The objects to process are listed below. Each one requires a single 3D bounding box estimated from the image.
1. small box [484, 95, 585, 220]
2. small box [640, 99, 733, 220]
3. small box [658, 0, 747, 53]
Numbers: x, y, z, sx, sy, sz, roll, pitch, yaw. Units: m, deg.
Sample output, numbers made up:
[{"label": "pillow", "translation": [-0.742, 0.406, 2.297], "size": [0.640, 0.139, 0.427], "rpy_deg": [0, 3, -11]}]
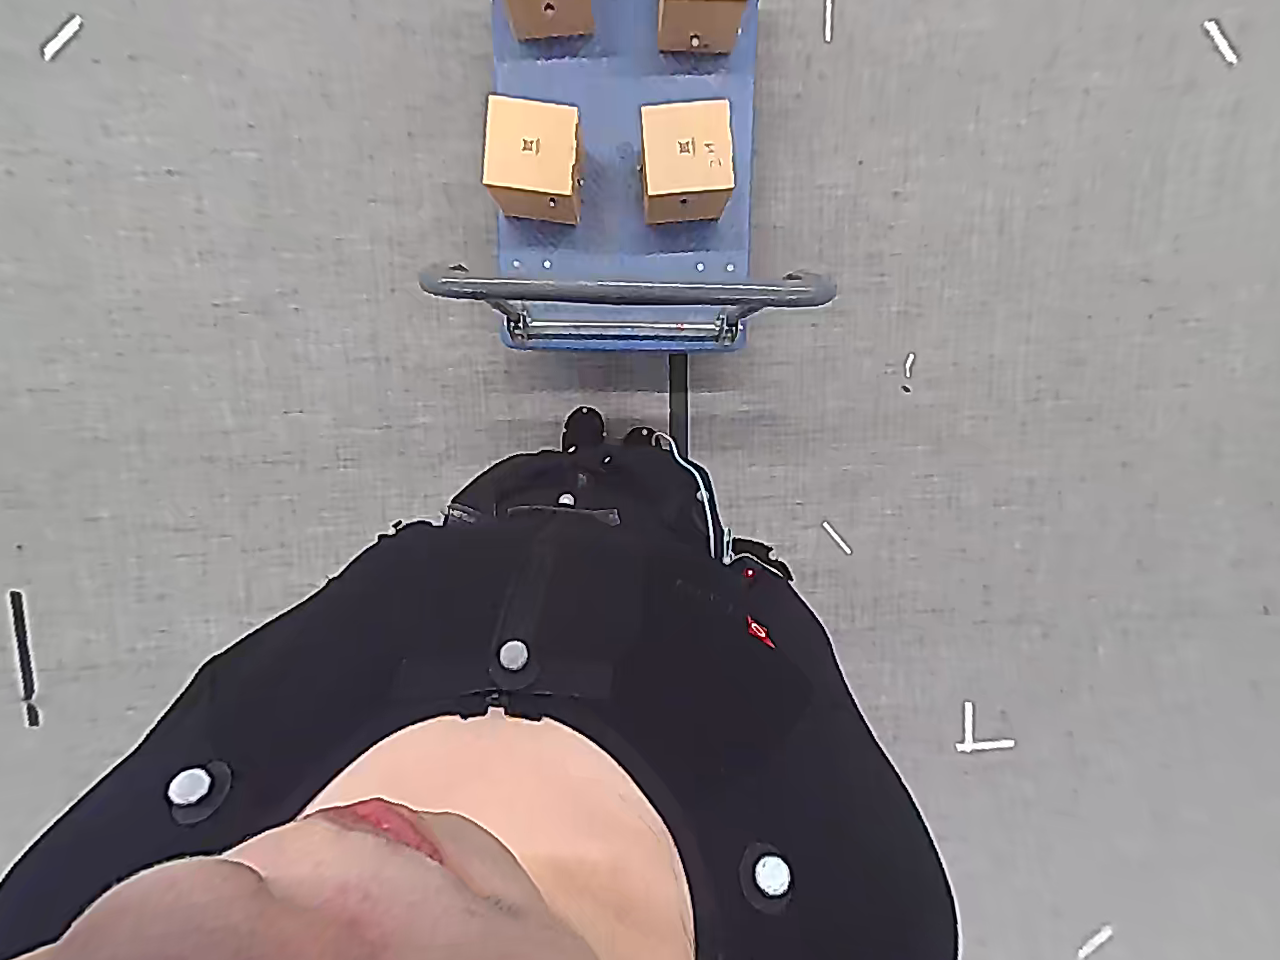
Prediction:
[{"label": "small box", "translation": [-0.215, -0.664, 1.133], "size": [0.179, 0.176, 0.168], "rpy_deg": [6, 97, -4]}, {"label": "small box", "translation": [0.092, -0.664, 1.141], "size": [0.179, 0.176, 0.168], "rpy_deg": [-5, 98, -1]}, {"label": "small box", "translation": [0.124, -1.015, 1.093], "size": [0.168, 0.176, 0.179], "rpy_deg": [1, 99, -1]}]
